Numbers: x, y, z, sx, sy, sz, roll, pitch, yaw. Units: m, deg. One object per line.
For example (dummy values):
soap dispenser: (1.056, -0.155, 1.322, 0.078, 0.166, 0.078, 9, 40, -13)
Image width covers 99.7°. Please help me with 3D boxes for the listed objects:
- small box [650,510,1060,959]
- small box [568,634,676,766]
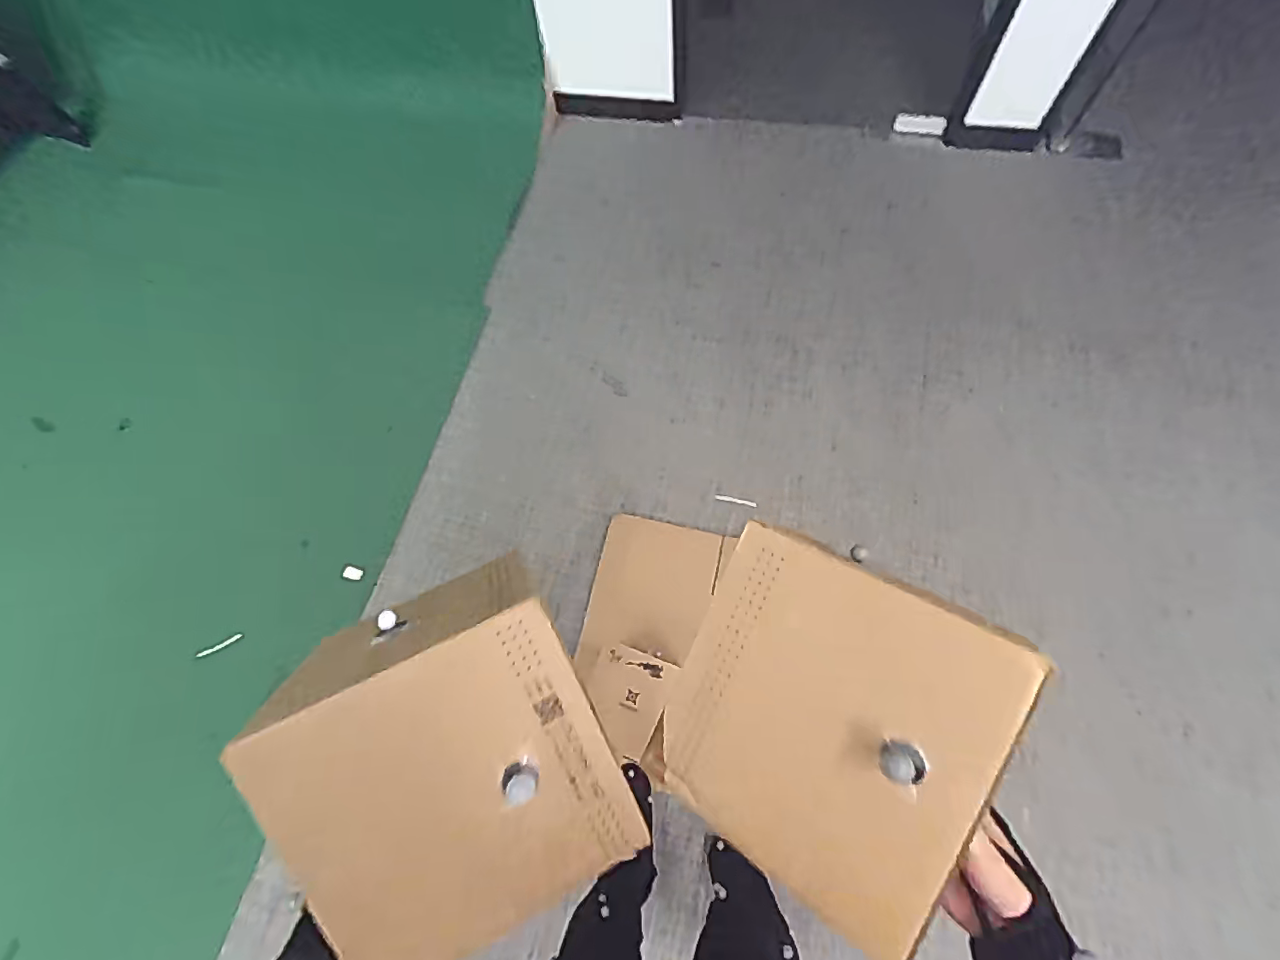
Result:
small box: (0.129, 0.139, 0.358, 0.176, 0.168, 0.179, 26, 94, 30)
small box: (-0.015, 0.415, 1.035, 0.168, 0.176, 0.179, 20, 72, 10)
